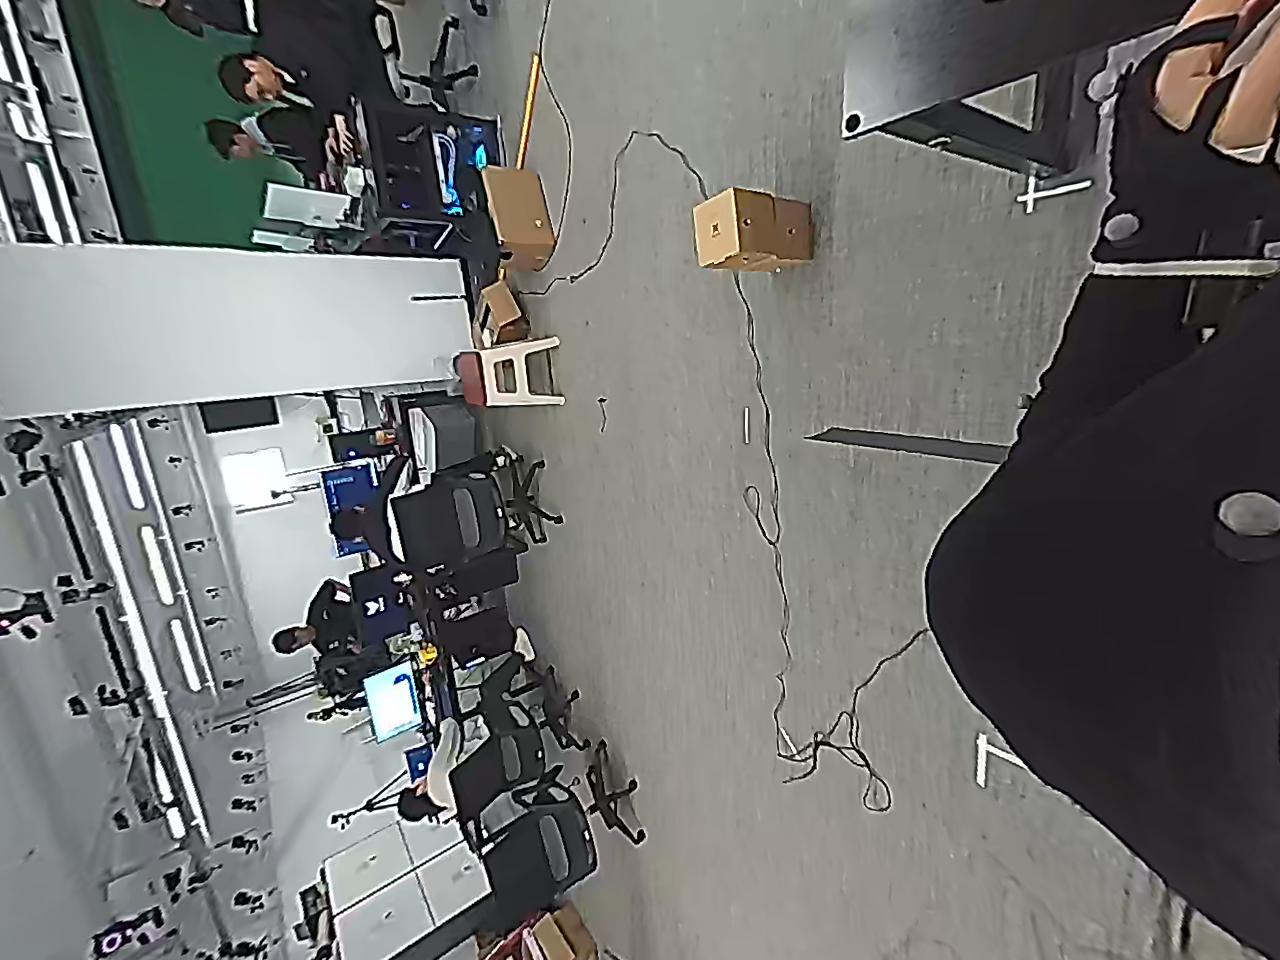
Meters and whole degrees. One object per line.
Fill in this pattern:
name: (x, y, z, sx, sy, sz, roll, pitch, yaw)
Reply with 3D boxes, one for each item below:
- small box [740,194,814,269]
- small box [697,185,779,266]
small box: (0.424, -0.766, 1.686, 0.168, 0.176, 0.179, 10, 110, 53)
small box: (0.292, -0.741, 1.594, 0.168, 0.176, 0.179, 5, 104, 53)
